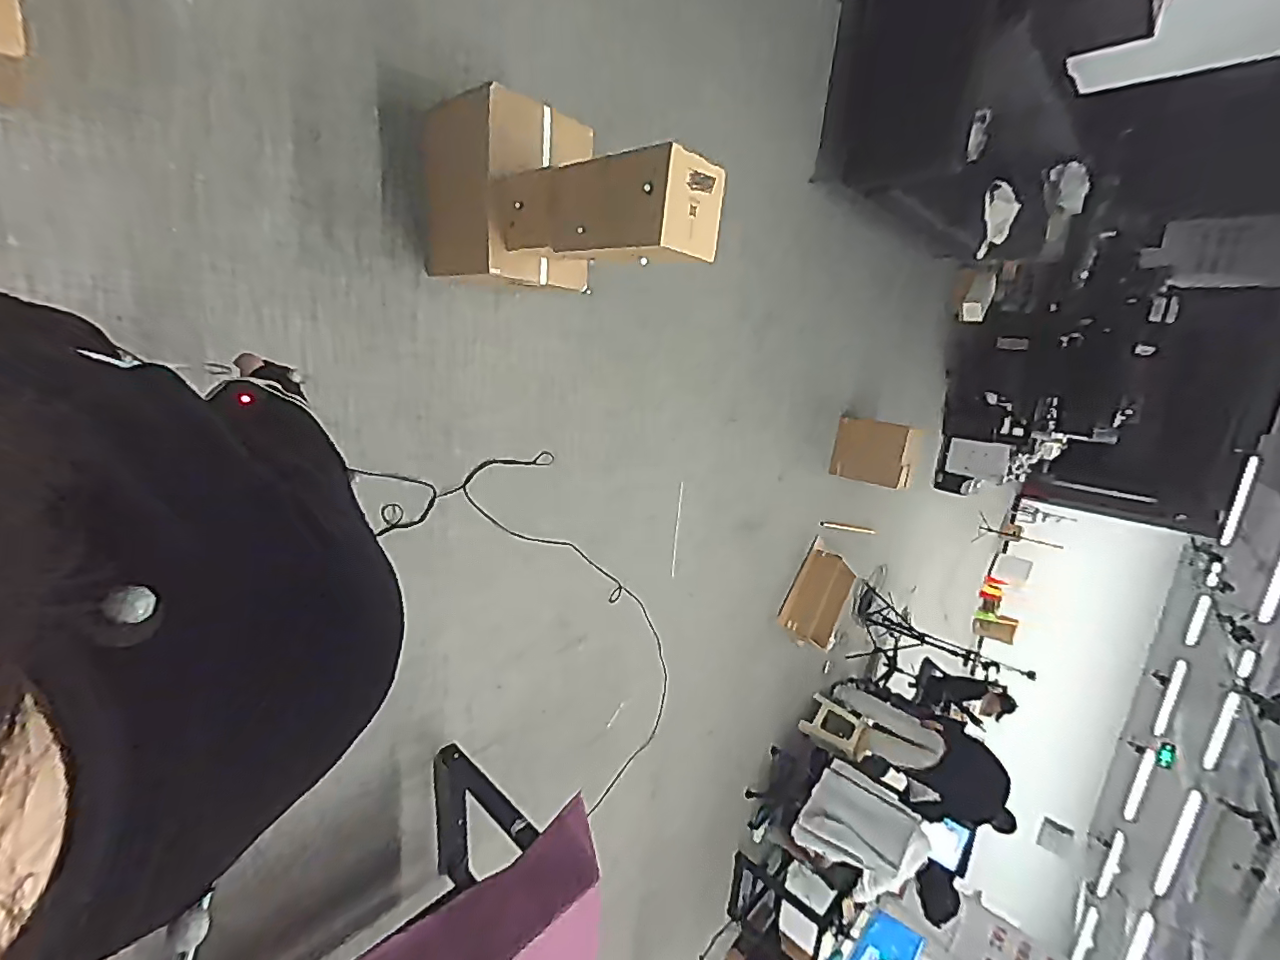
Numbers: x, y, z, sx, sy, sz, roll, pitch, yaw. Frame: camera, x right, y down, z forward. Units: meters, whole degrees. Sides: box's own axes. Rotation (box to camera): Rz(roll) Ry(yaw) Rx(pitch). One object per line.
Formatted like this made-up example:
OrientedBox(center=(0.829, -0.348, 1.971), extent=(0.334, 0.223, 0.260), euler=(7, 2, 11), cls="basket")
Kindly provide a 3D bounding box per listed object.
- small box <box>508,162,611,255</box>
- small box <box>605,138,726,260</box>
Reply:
OrientedBox(center=(-0.193, -0.638, 1.291), extent=(0.179, 0.176, 0.168), euler=(-12, 112, -44), cls="small box")
OrientedBox(center=(0.046, -0.549, 1.083), extent=(0.168, 0.176, 0.179), euler=(-7, 111, -46), cls="small box")
